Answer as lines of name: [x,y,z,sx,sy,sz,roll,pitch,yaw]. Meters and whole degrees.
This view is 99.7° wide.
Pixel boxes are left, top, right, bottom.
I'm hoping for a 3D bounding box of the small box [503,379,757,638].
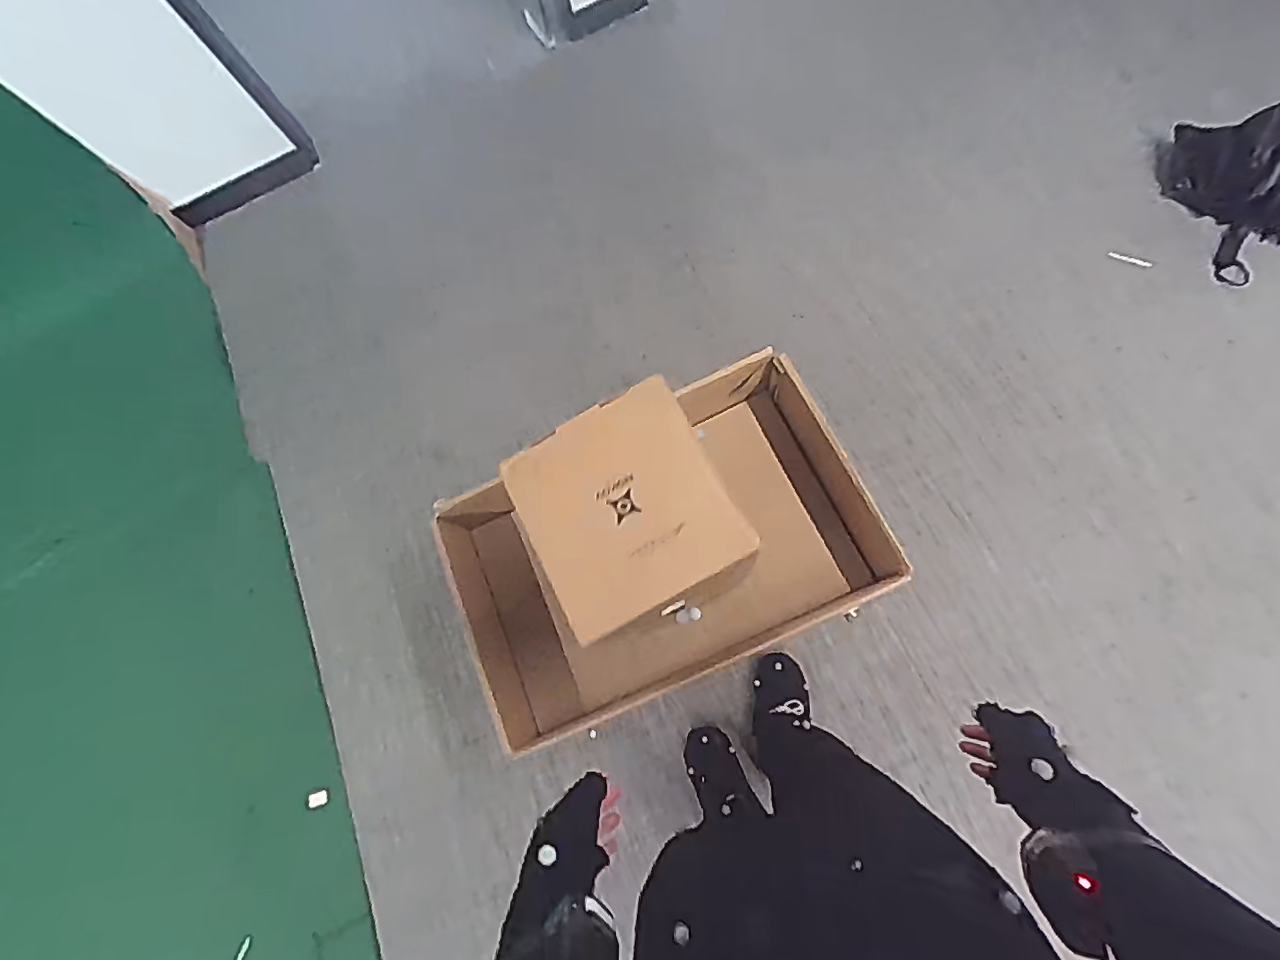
small box: [-0.002,0.039,0.531,0.168,0.176,0.179,-29,73,2]
